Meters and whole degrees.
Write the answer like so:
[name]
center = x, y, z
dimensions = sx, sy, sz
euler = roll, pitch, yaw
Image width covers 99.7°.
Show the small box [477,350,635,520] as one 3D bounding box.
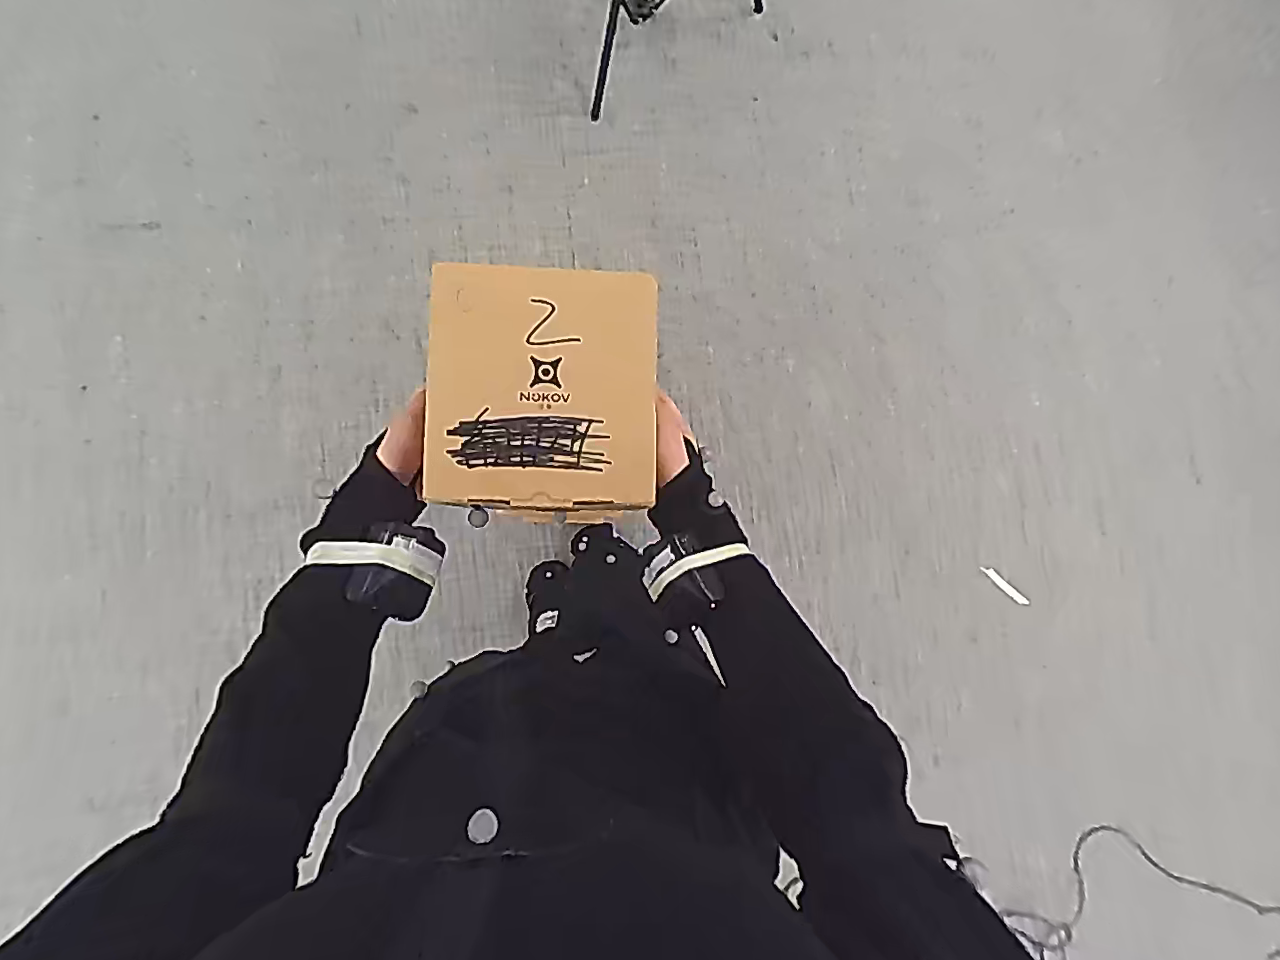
[small box]
center = -0.093, -0.044, 0.640
dimensions = 0.168, 0.176, 0.179
euler = -1, 87, -6
